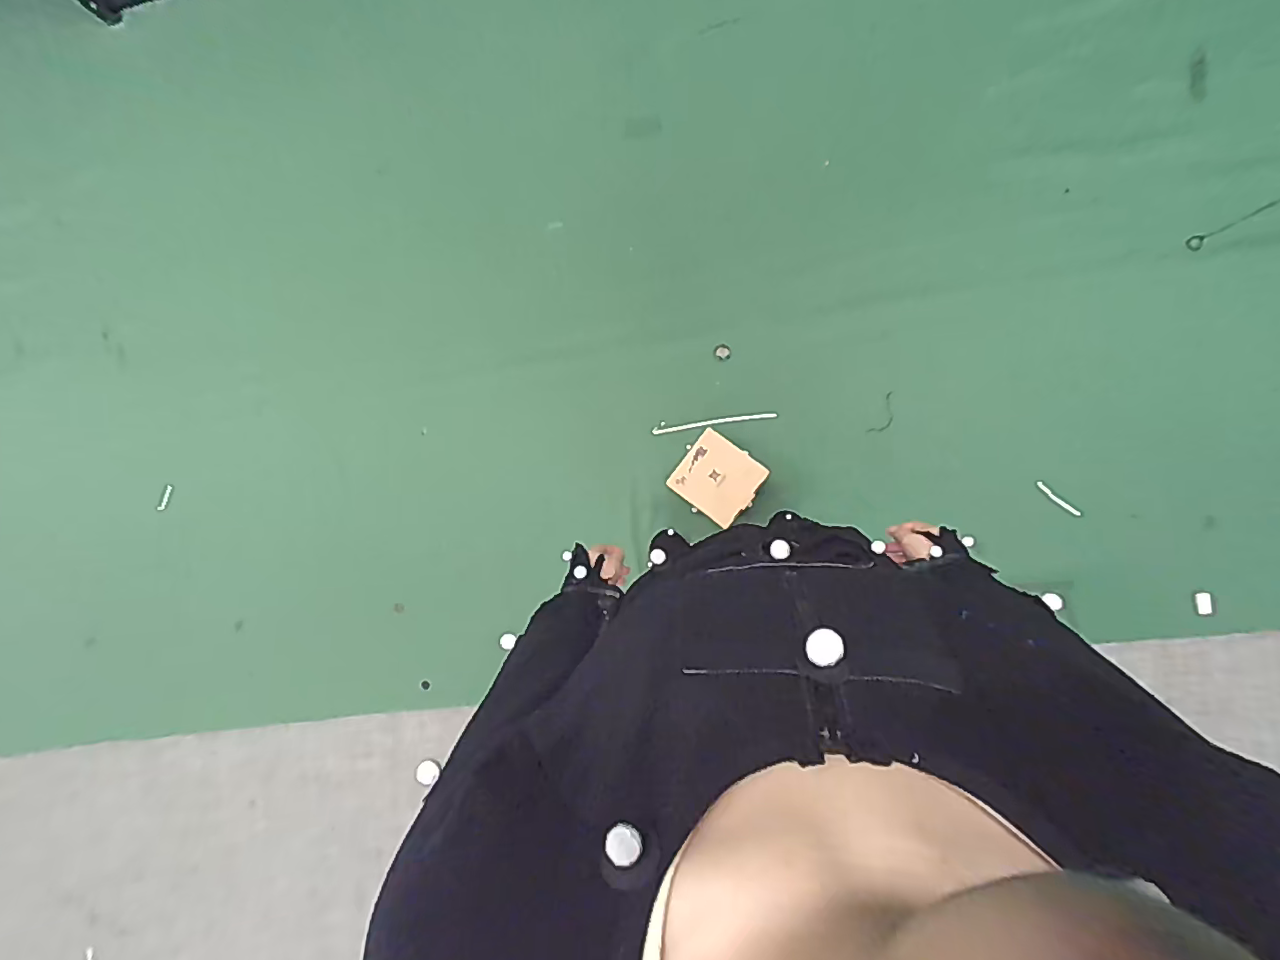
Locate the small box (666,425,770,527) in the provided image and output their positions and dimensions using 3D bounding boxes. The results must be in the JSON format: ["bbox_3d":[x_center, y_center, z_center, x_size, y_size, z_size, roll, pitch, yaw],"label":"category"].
[{"bbox_3d":[0.183,-0.008,1.284,0.179,0.176,0.168,38,92,7],"label":"small box"}]
